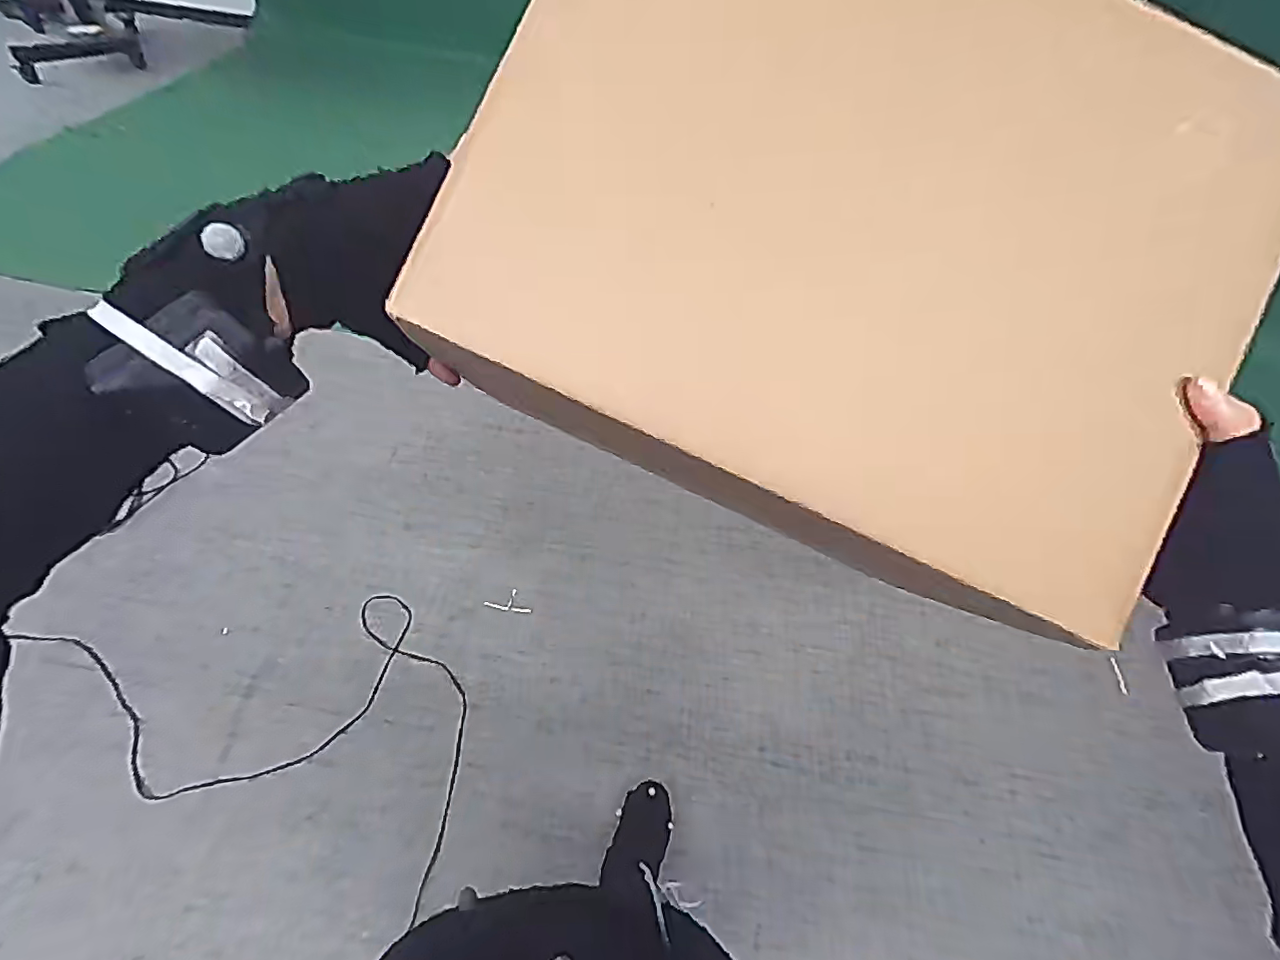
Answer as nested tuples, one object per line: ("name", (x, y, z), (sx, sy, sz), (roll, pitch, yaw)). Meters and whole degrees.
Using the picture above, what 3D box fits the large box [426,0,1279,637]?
("large box", (0.119, -0.130, 0.433), (0.408, 0.320, 0.320), (26, 88, -1))
